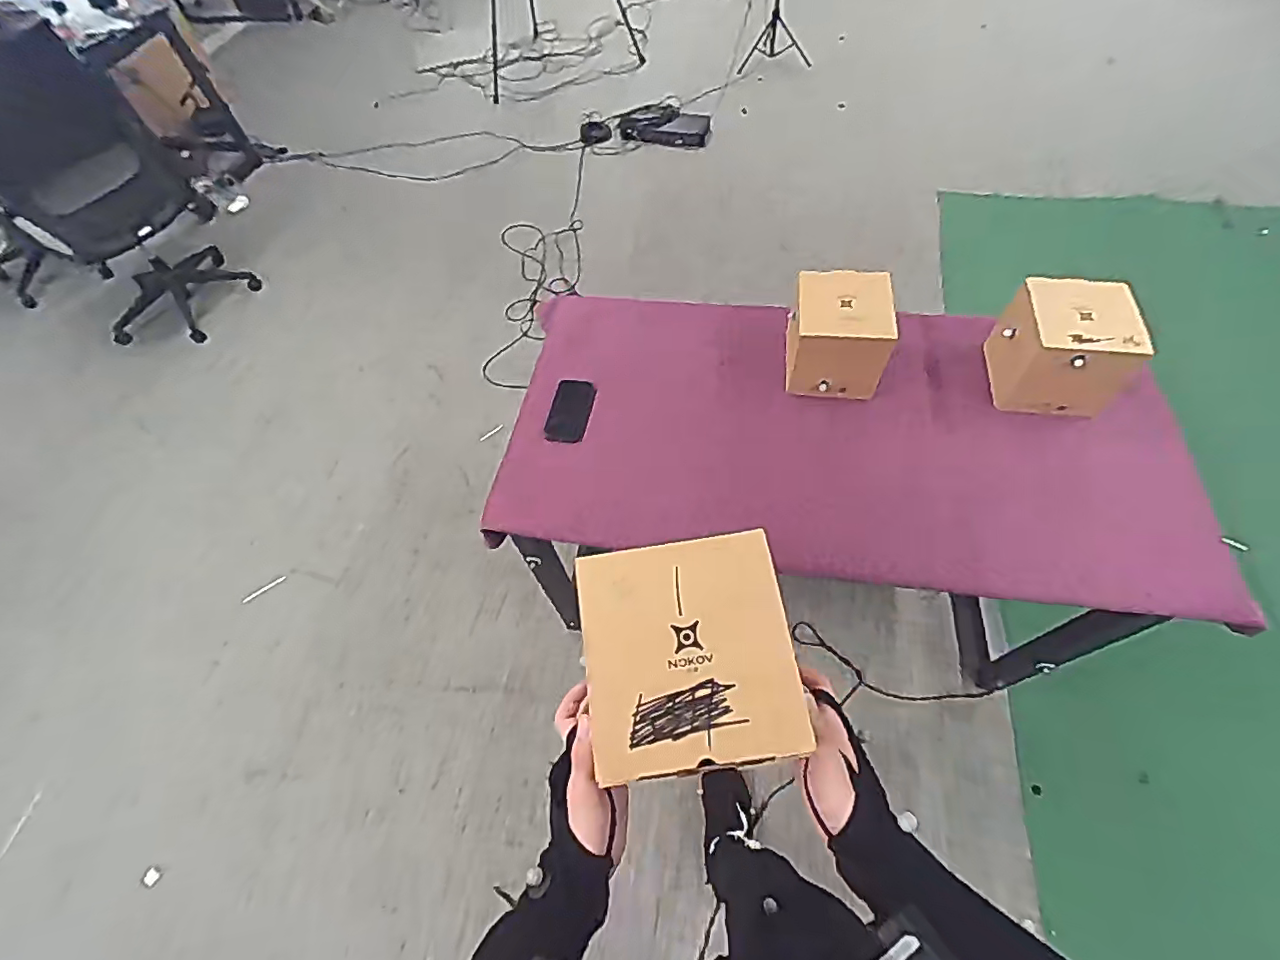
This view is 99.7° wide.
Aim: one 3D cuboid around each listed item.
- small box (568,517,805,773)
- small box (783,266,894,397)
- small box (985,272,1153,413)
[{"bbox_3d":[0.036,0.151,0.496,0.168,0.176,0.179,-9,67,0],"label":"small box"},{"bbox_3d":[0.370,-0.283,1.036,0.168,0.176,0.179,5,59,9],"label":"small box"},{"bbox_3d":[0.752,-0.246,0.974,0.168,0.176,0.179,6,59,10],"label":"small box"}]
